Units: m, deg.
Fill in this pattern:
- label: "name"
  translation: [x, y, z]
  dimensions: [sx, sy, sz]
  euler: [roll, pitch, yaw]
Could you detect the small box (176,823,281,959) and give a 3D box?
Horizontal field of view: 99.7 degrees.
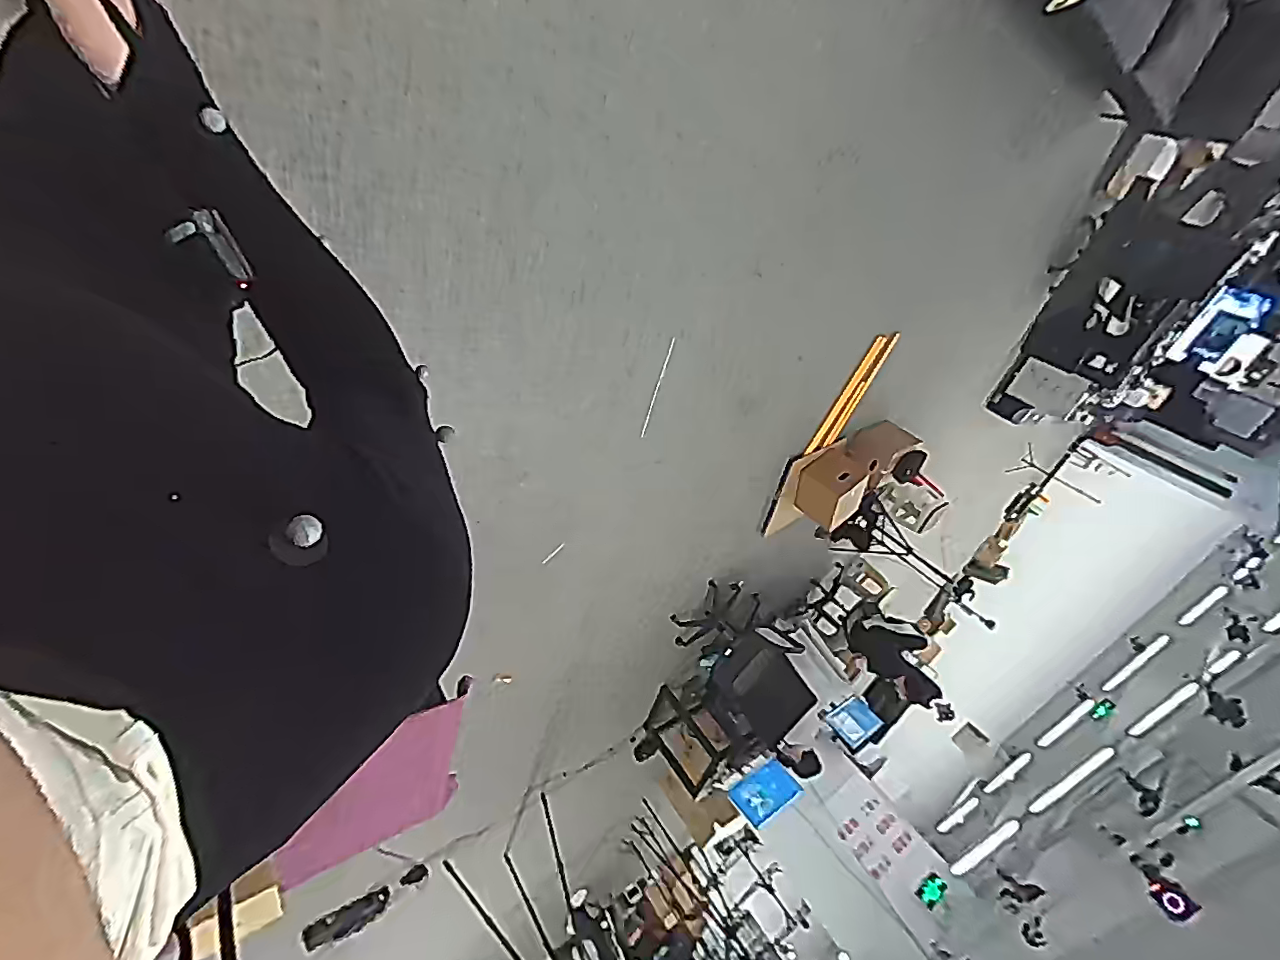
- label: "small box"
  translation: [-0.935, 0.931, 1.233]
  dimensions: [0.168, 0.176, 0.179]
  euler: [-12, 132, -38]
